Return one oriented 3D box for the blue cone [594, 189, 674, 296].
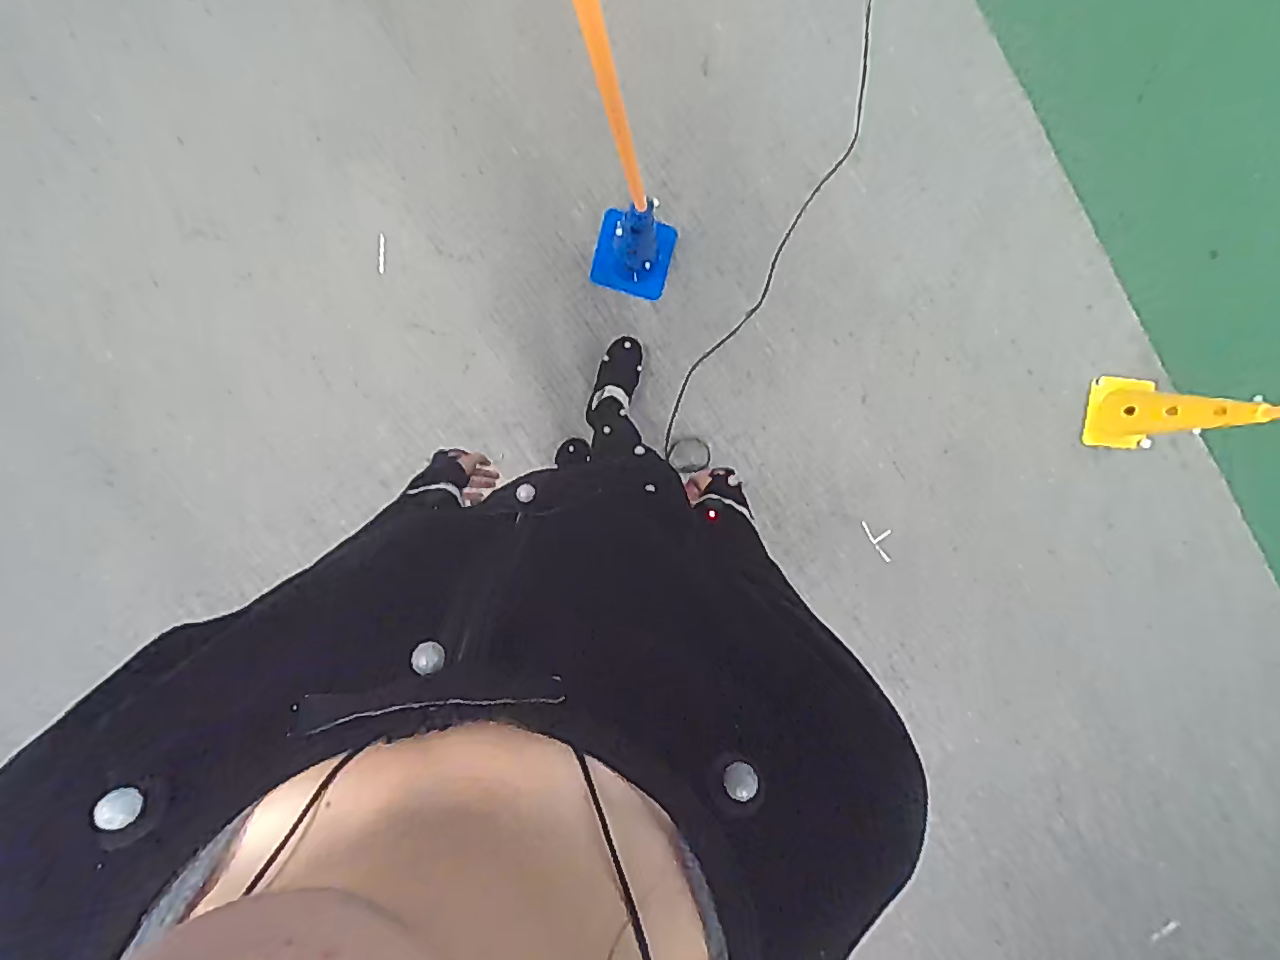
[{"bbox_3d":[-0.008,-0.566,1.246,0.193,0.380,0.192,14,96,-4],"label":"blue cone"}]
